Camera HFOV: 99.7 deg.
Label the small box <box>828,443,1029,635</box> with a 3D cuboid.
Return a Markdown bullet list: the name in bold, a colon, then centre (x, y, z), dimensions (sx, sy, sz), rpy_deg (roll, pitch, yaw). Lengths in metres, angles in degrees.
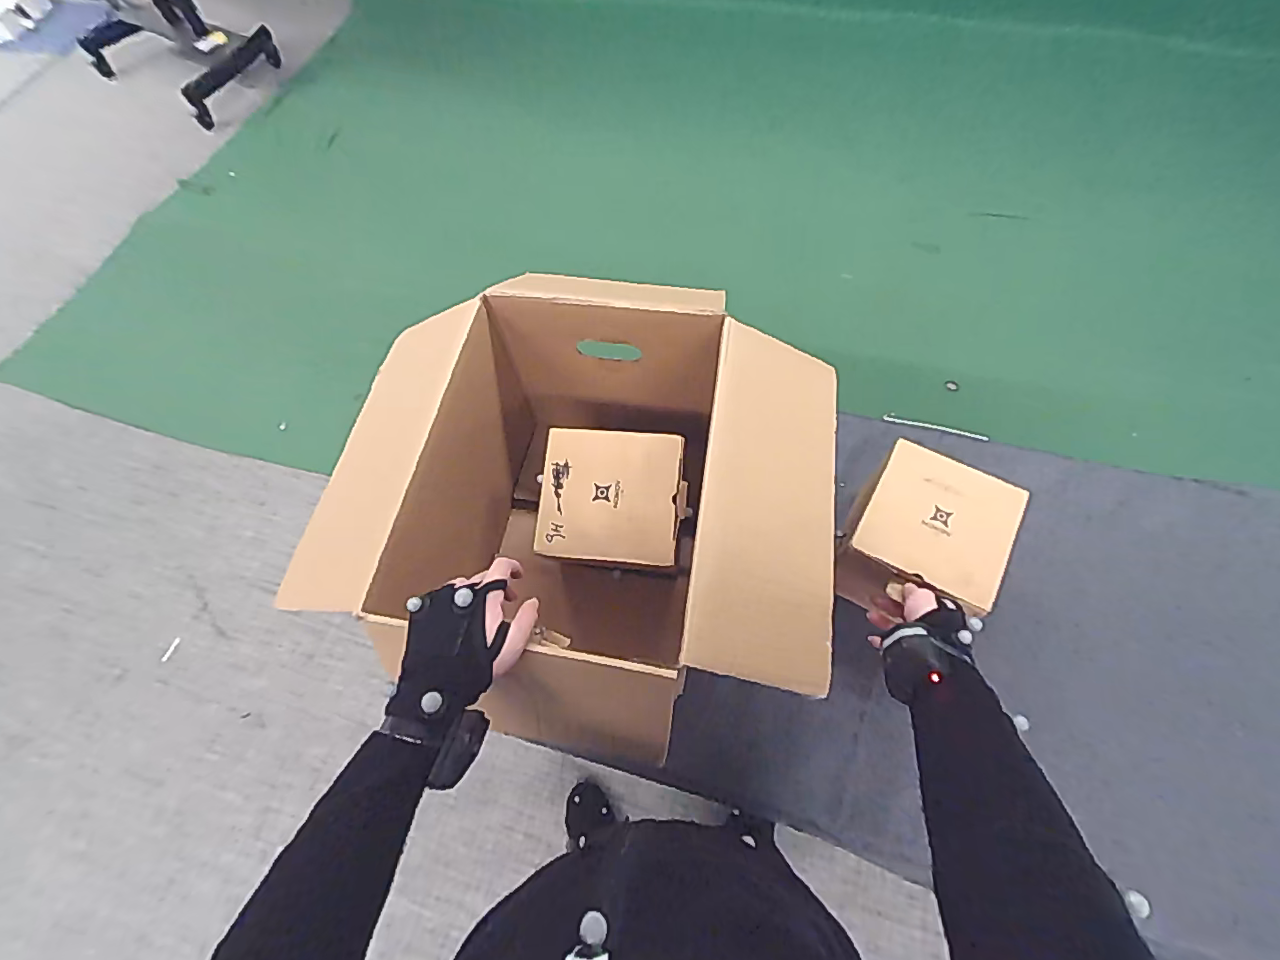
- **small box**: centre (0.375, 0.088, 0.735), dimensions (0.168, 0.176, 0.179), rpy_deg (27, 68, 15)
